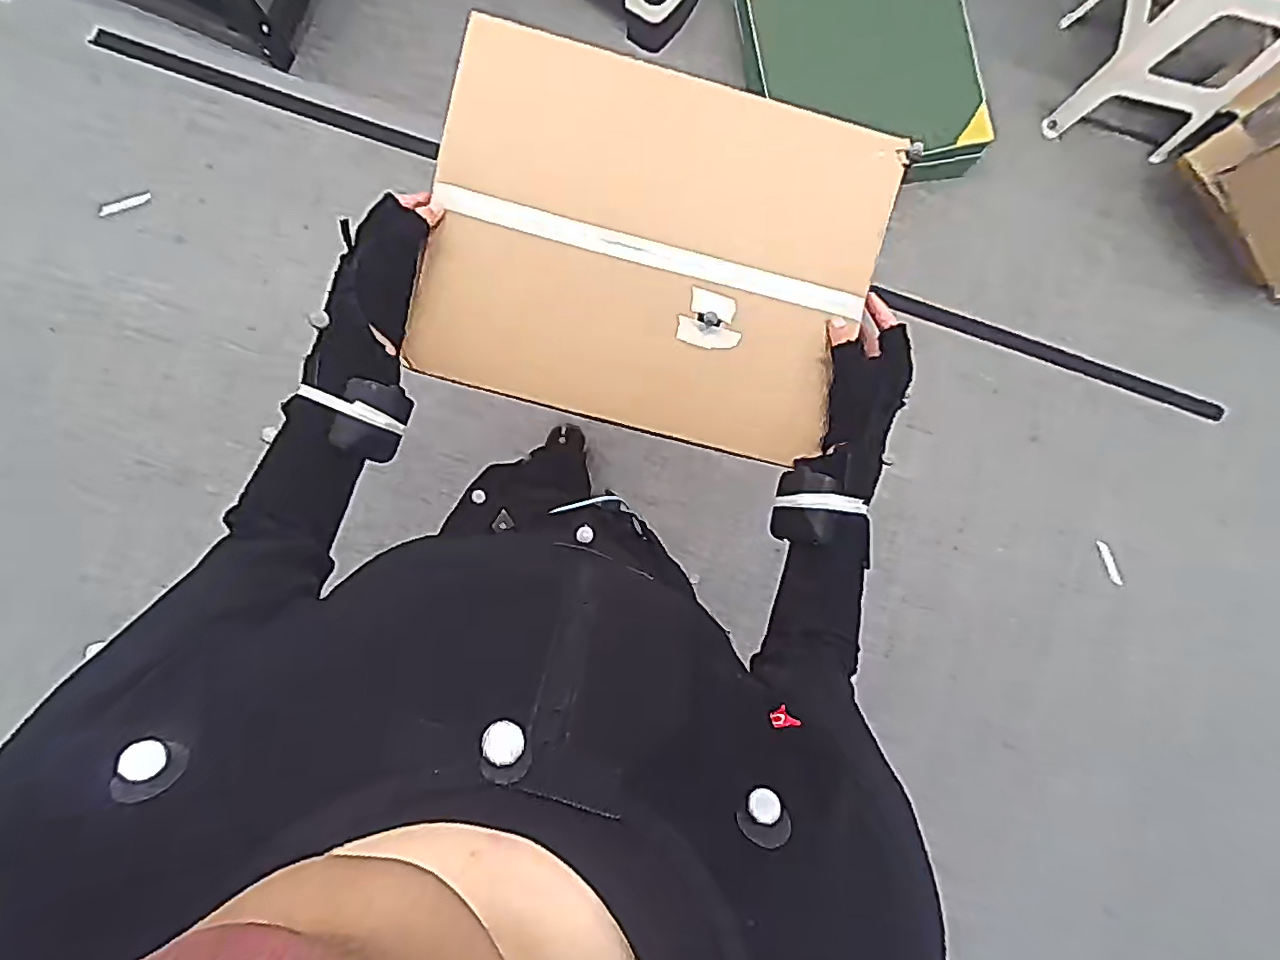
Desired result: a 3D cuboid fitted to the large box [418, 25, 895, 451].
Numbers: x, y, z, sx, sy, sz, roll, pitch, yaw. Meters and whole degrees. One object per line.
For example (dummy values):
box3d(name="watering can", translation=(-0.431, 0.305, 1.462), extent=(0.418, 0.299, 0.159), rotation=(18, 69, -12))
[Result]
box3d(name="large box", translation=(0.007, -0.235, 0.658), extent=(0.408, 0.320, 0.320), rotation=(14, 96, -4))
